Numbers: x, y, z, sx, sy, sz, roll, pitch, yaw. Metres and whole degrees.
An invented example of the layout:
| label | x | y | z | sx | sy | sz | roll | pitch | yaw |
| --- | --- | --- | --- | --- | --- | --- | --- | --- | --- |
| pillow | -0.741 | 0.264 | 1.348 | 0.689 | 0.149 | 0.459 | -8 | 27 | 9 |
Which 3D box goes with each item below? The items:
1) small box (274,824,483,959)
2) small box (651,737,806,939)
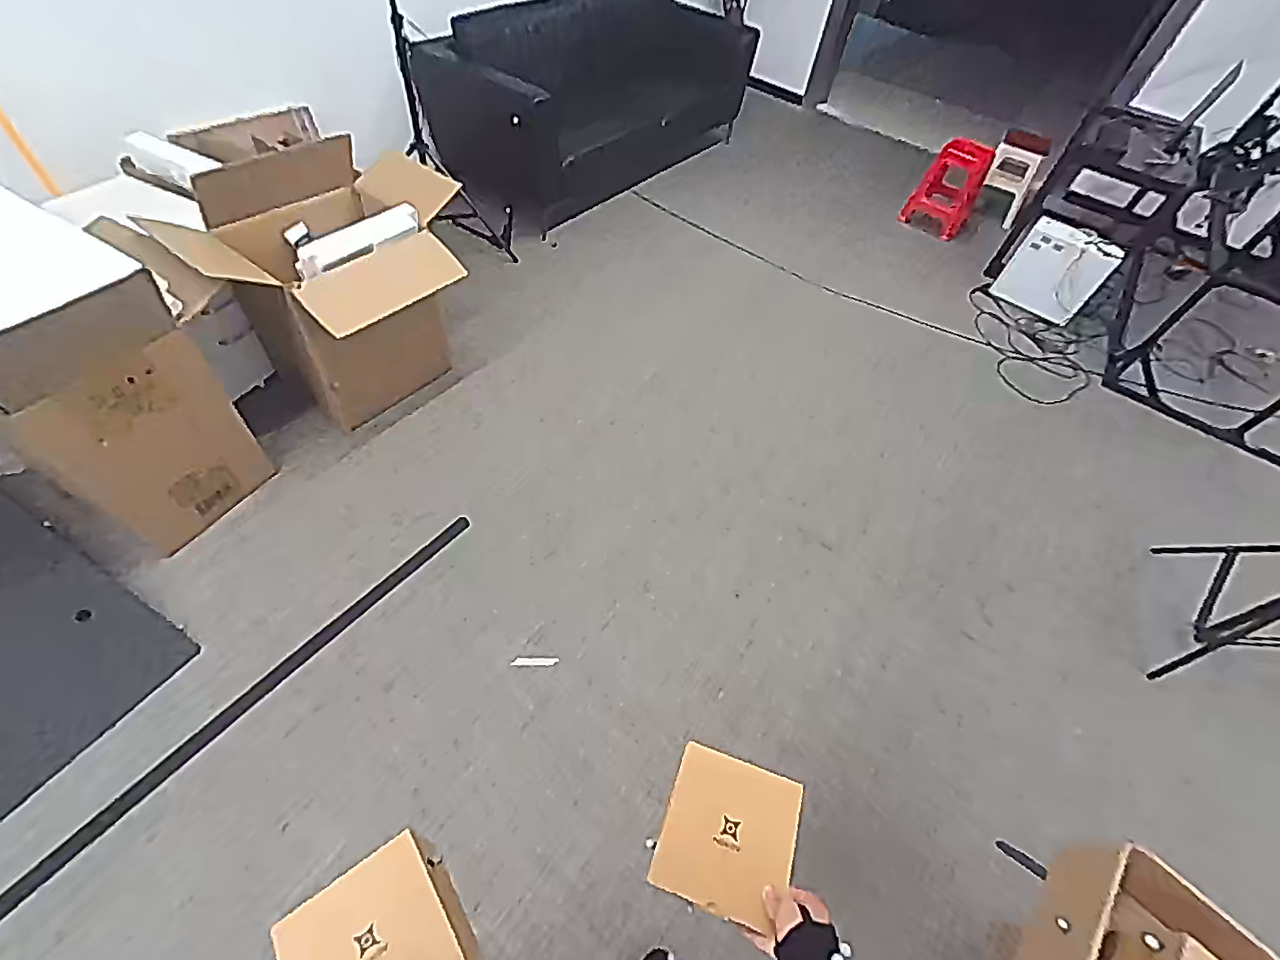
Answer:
| label | x | y | z | sx | sy | sz | roll | pitch | yaw |
| --- | --- | --- | --- | --- | --- | --- | --- | --- | --- |
| small box | -0.315 | 0.579 | 0.676 | 0.168 | 0.176 | 0.179 | -28 | 58 | -26 |
| small box | 0.116 | 0.494 | 0.756 | 0.168 | 0.176 | 0.179 | 17 | 56 | 12 |
